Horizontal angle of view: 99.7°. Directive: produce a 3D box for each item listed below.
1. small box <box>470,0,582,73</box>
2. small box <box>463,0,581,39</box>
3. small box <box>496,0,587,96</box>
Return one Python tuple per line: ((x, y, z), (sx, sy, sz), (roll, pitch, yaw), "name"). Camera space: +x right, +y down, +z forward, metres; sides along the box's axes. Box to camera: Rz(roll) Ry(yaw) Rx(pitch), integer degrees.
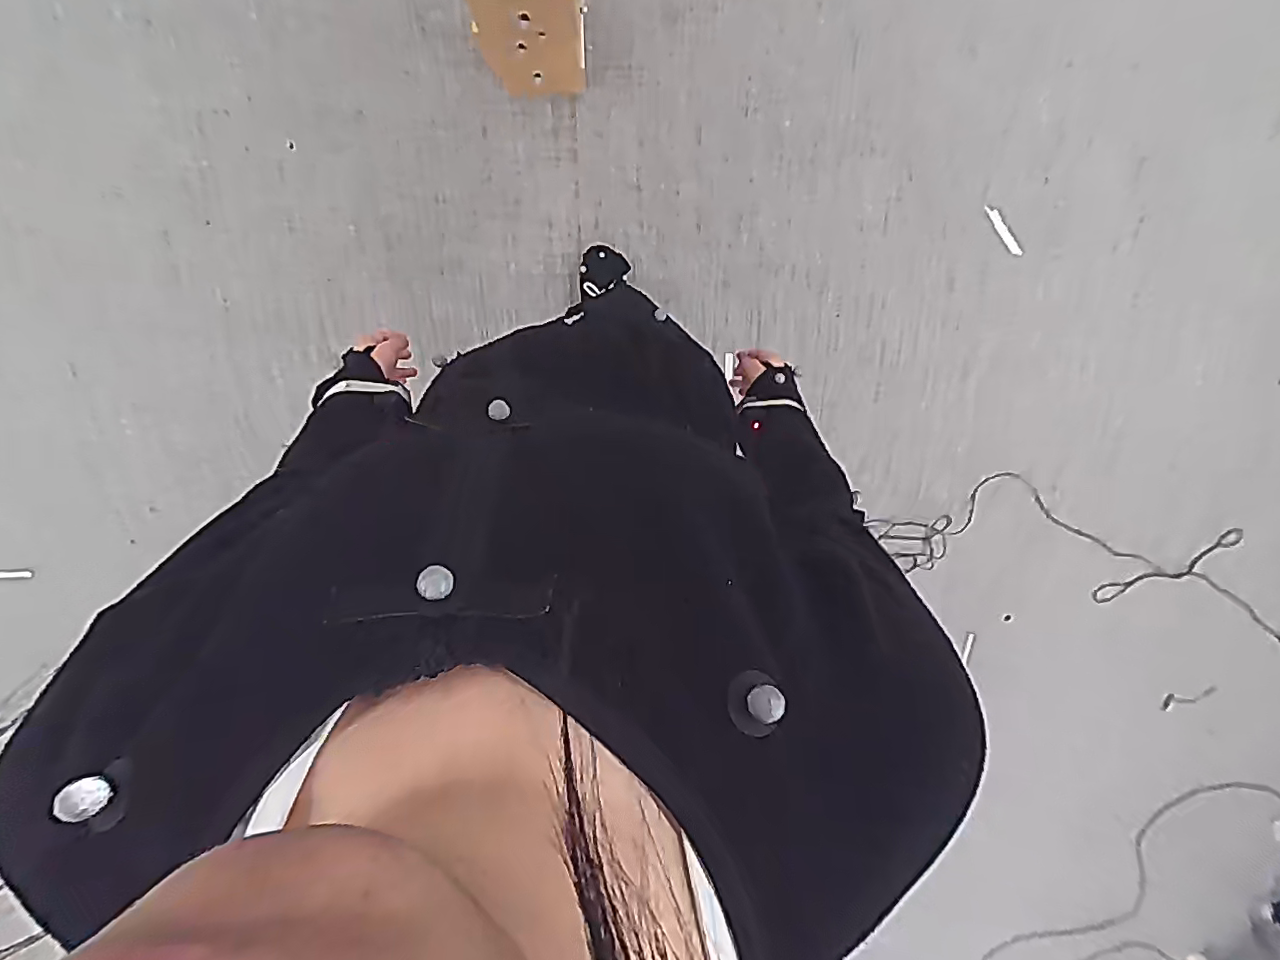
((-0.193, -0.839, 0.945), (0.179, 0.176, 0.168), (1, 112, -5), "small box")
((-0.172, -0.783, 0.793), (0.168, 0.176, 0.179), (1, 112, -5), "small box")
((-0.198, -0.902, 1.097), (0.179, 0.176, 0.168), (-1, 111, -4), "small box")
